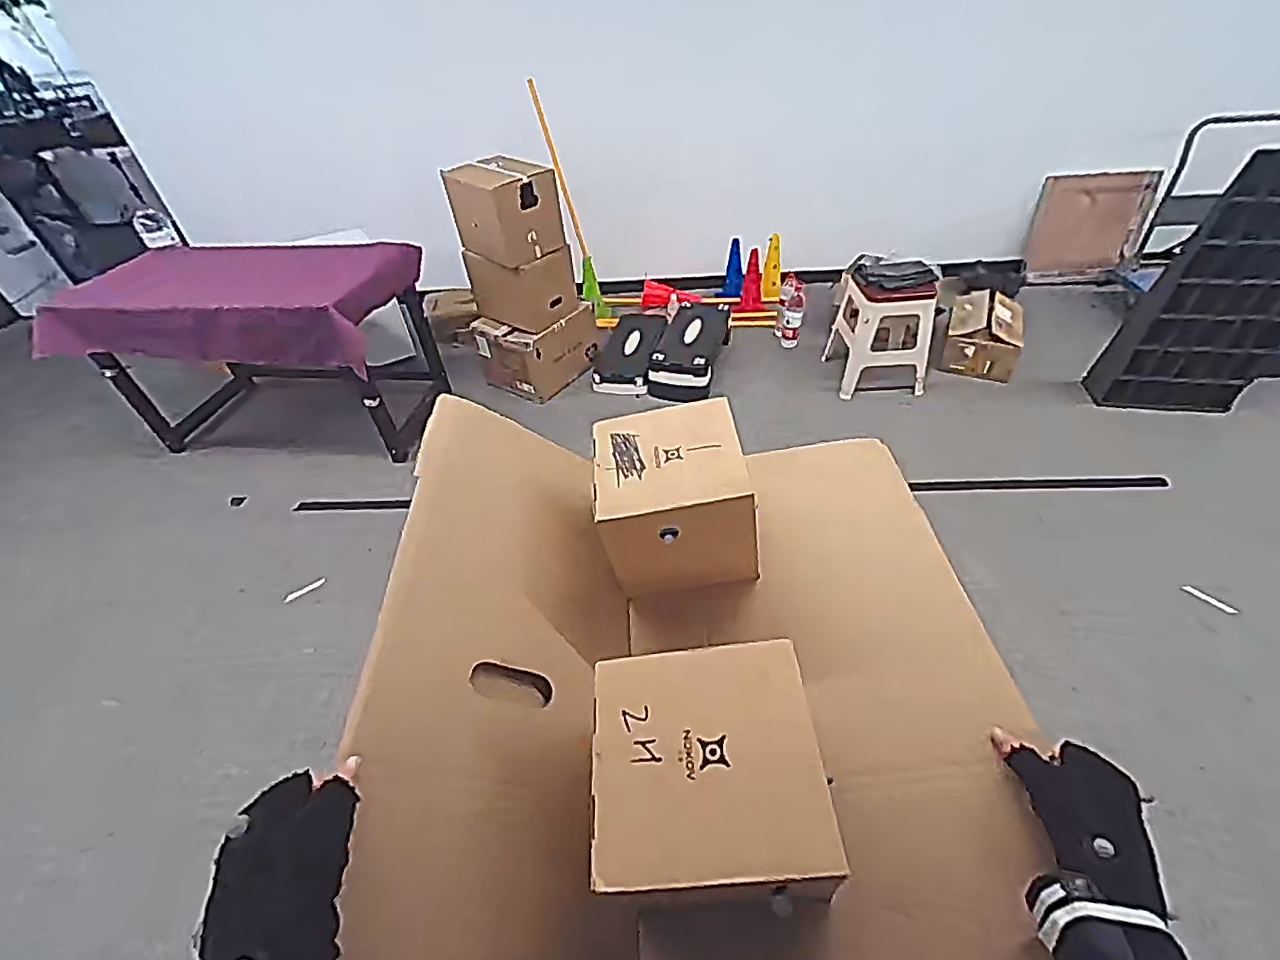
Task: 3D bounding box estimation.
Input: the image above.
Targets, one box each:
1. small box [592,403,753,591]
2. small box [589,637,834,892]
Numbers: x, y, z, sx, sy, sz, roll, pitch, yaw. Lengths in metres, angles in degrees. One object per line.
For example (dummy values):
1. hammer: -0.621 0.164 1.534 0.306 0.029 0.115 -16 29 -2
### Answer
1. small box: 0.043 0.028 0.706 0.179 0.176 0.168 -11 47 5
2. small box: 0.063 0.262 0.490 0.179 0.176 0.168 -9 47 8
